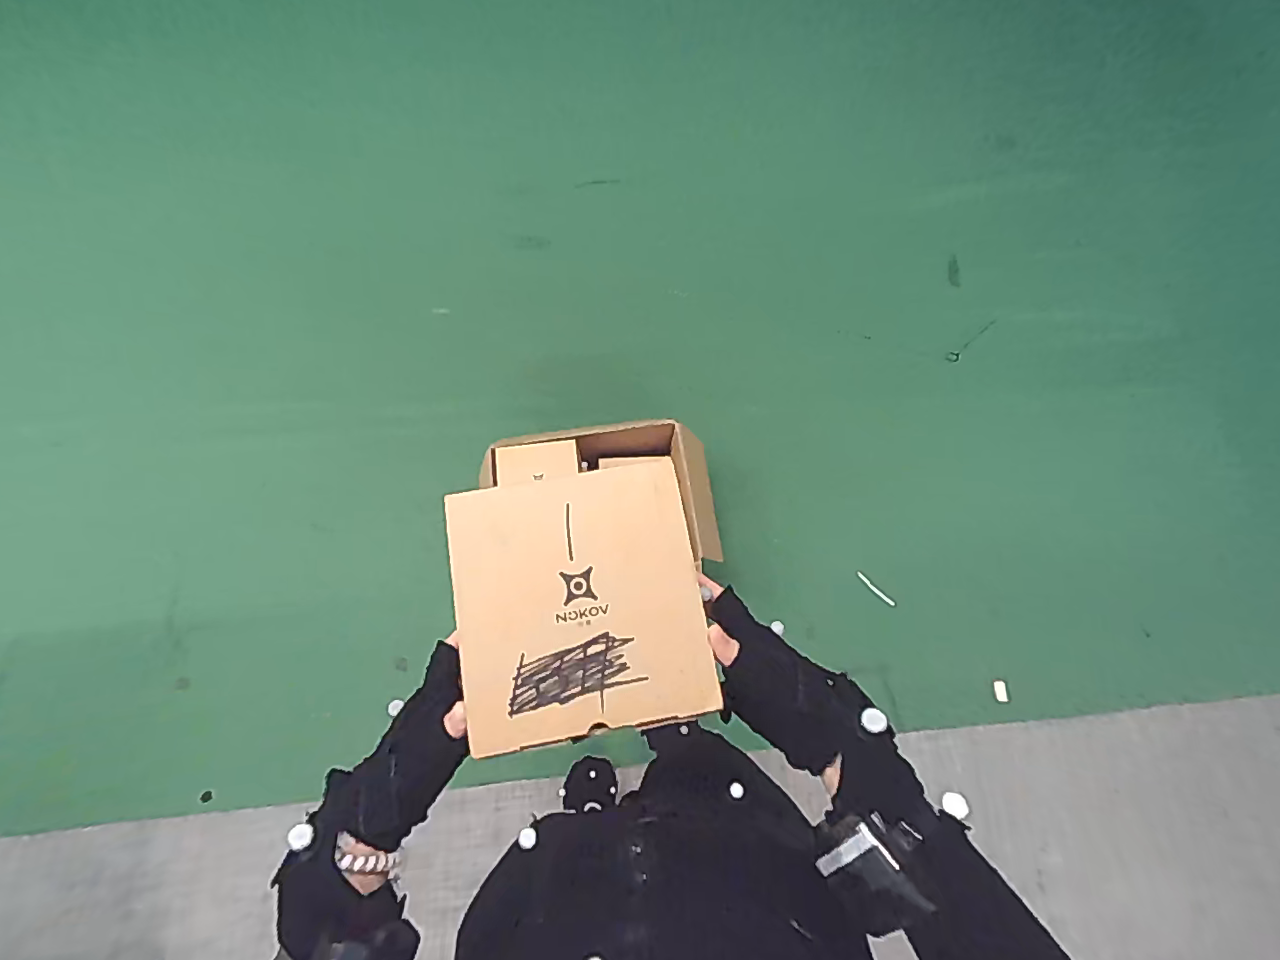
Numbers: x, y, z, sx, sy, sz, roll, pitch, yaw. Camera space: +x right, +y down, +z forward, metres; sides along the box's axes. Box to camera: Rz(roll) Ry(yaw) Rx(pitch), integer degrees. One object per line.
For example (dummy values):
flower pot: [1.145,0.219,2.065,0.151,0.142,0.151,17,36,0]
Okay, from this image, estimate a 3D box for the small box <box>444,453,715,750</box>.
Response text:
small box: [-0.044,0.094,0.443,0.168,0.176,0.179,-10,76,-4]
